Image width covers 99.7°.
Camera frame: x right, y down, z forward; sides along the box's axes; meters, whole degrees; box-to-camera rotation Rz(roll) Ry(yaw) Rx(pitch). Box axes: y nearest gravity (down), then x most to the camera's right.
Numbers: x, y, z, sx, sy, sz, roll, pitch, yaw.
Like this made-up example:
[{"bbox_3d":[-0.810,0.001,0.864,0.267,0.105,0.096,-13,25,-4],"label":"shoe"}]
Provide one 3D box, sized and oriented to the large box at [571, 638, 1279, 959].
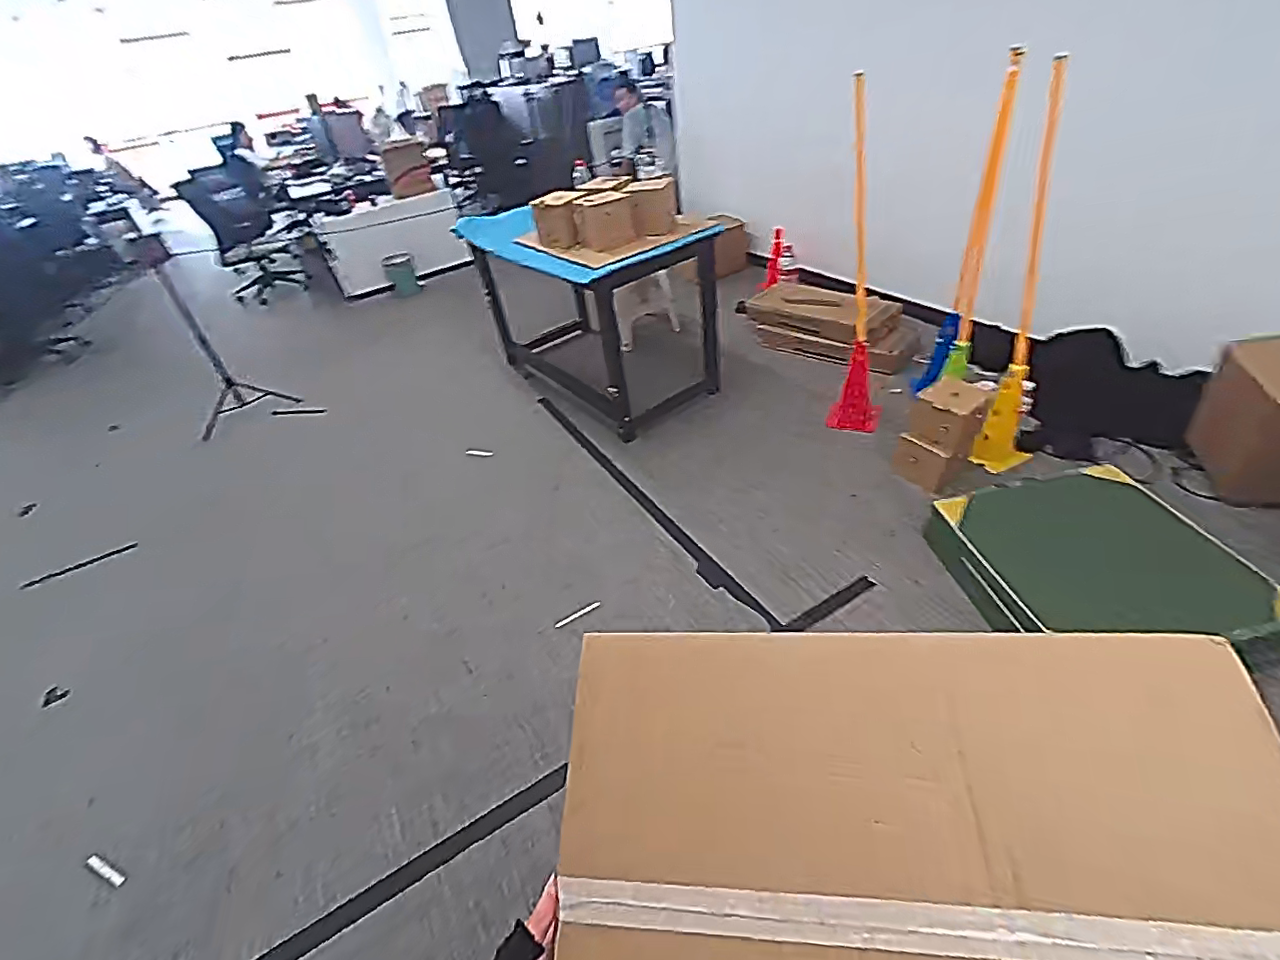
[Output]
[{"bbox_3d":[0.181,0.320,0.418,0.408,0.320,0.320,-3,59,11],"label":"large box"}]
